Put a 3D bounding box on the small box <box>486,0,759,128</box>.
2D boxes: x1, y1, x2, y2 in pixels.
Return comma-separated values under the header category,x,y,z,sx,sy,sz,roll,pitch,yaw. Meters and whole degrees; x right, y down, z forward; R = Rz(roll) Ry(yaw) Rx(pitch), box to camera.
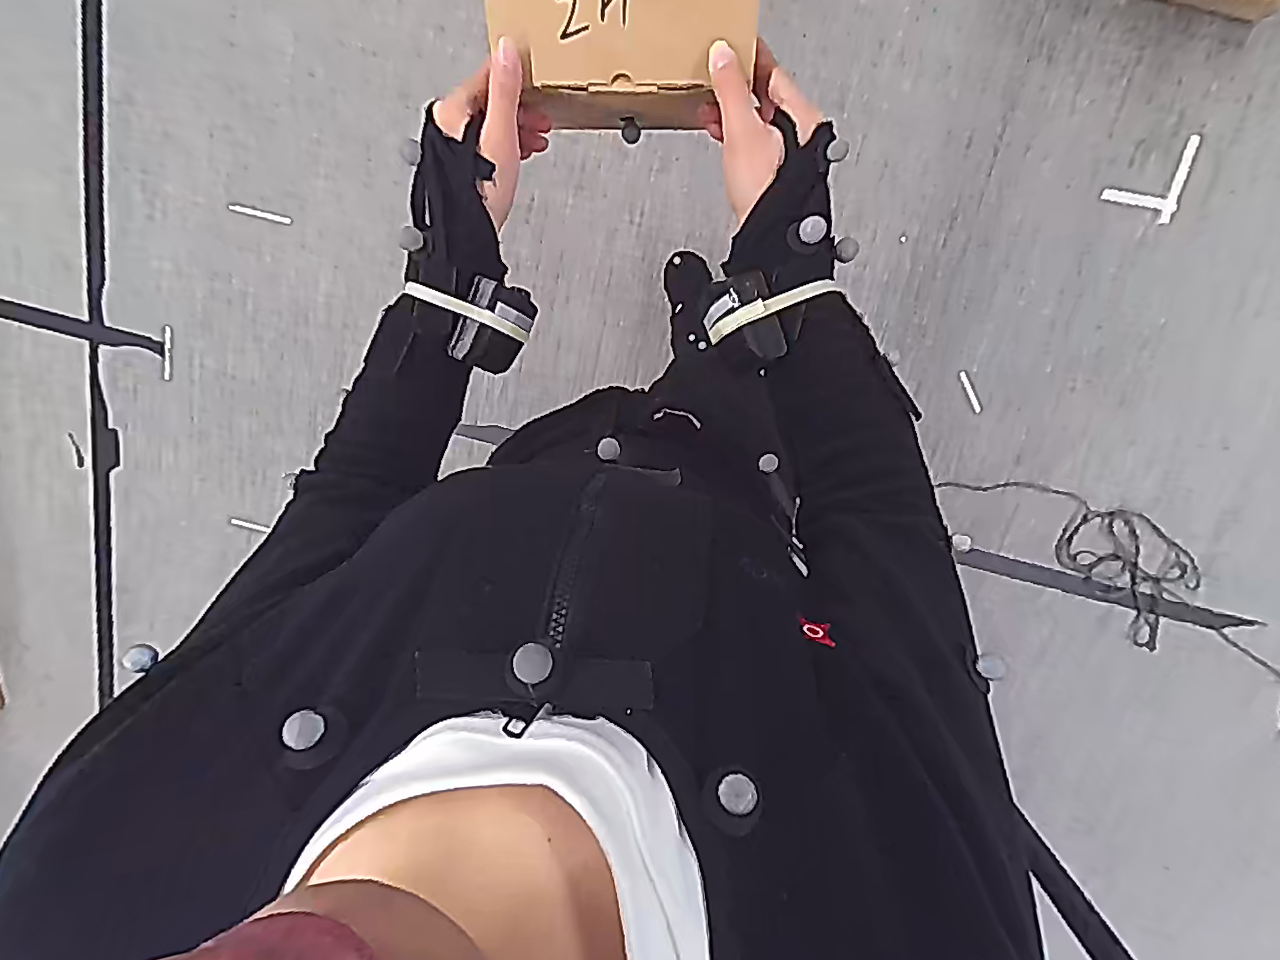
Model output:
category,x,y,z,sx,sy,sz,roll,pitch,yaw
small box,-0.007,-0.362,0.373,0.168,0.176,0.179,2,115,2
